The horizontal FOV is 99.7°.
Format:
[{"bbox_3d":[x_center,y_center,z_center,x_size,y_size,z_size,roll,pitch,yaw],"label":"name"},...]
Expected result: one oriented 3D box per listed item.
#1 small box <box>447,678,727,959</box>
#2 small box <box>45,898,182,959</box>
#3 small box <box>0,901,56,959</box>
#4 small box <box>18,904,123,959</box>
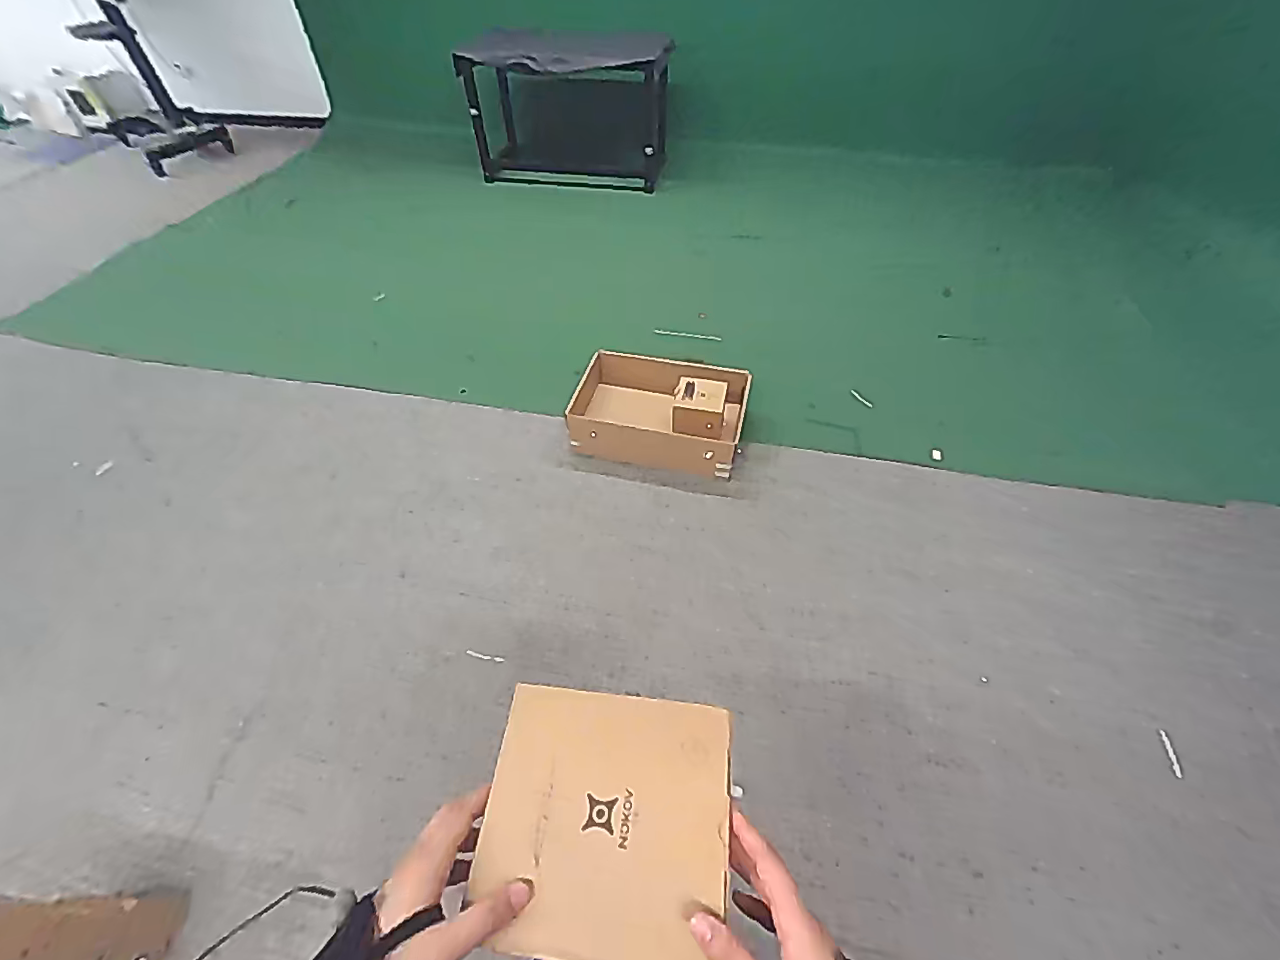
[{"bbox_3d":[-0.024,0.281,0.445,0.179,0.176,0.168,3,51,7],"label":"small box"},{"bbox_3d":[-1.058,0.926,1.045,0.179,0.176,0.168,2,48,4],"label":"small box"},{"bbox_3d":[-1.057,0.720,0.792,0.179,0.176,0.168,5,49,5],"label":"small box"},{"bbox_3d":[-1.060,0.831,0.910,0.179,0.176,0.168,6,49,5],"label":"small box"}]
